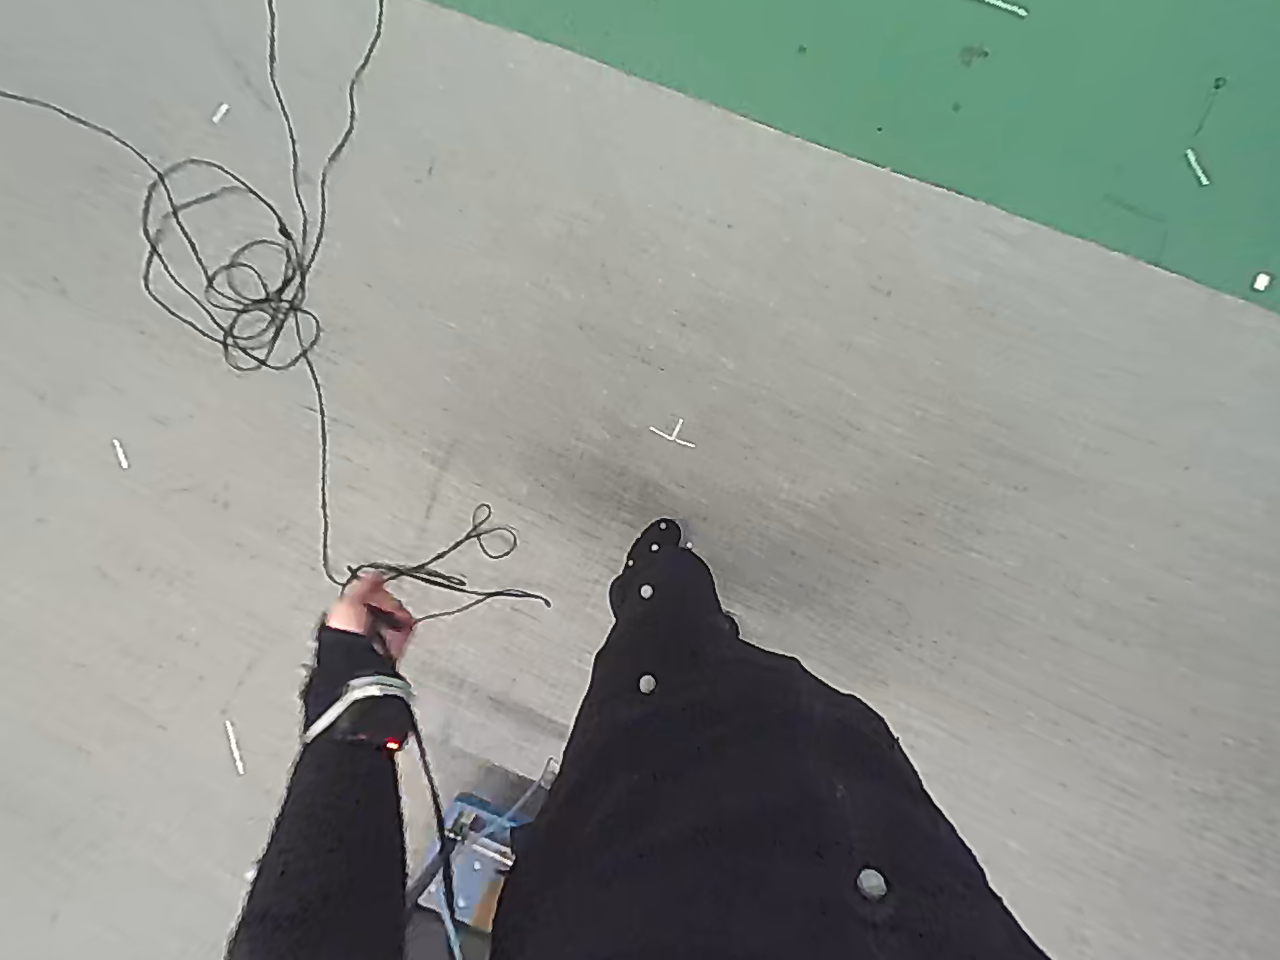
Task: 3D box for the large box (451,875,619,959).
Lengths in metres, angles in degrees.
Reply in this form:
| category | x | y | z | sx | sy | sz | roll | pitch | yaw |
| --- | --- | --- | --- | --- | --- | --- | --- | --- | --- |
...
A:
| category | x | y | z | sx | sy | sz | roll | pitch | yaw |
| --- | --- | --- | --- | --- | --- | --- | --- | --- | --- |
| large box | -0.256 | 1.069 | 0.998 | 0.320 | 0.320 | 0.408 | 23 | 83 | 5 |
